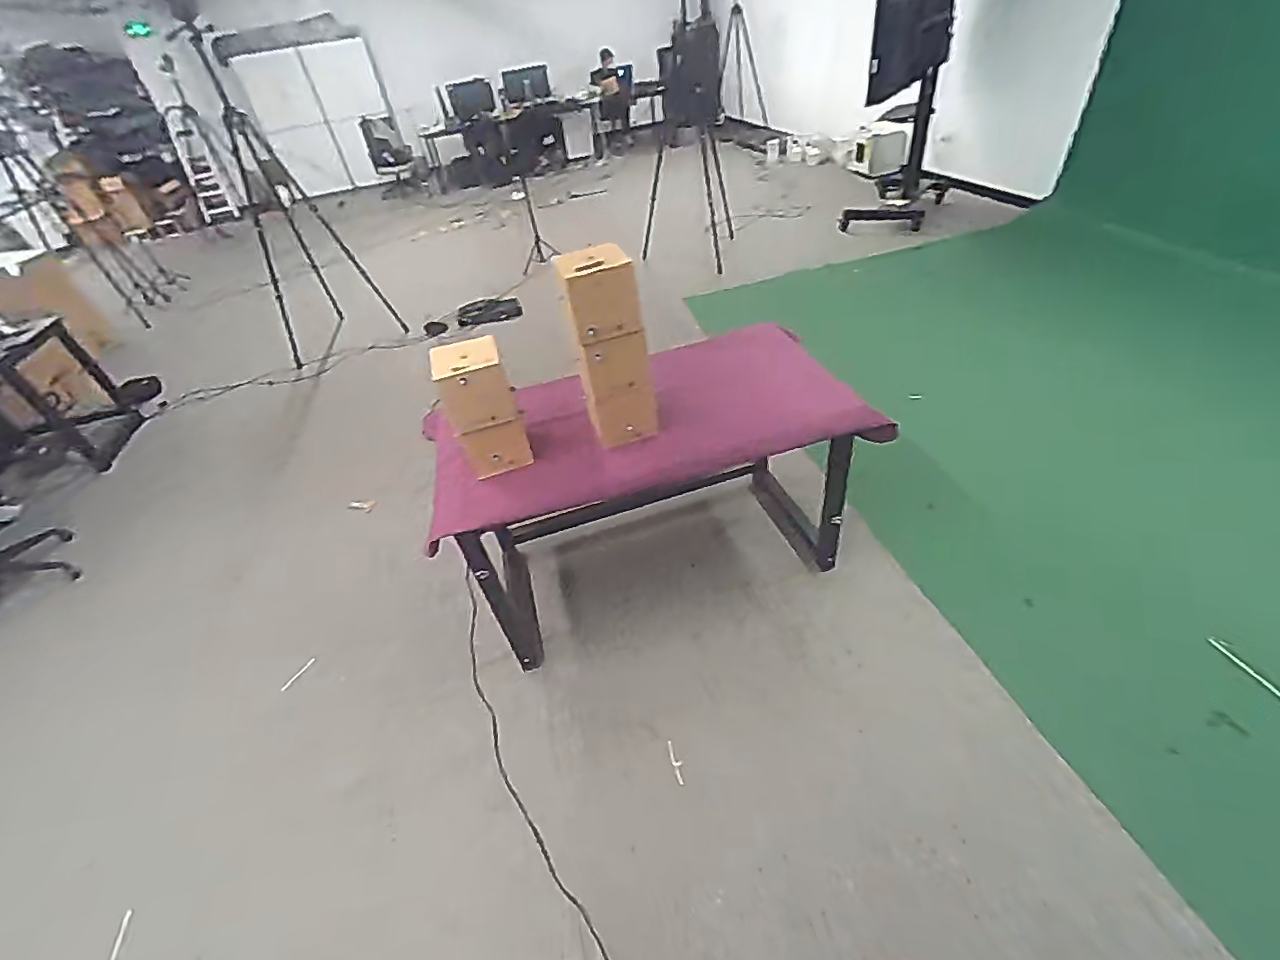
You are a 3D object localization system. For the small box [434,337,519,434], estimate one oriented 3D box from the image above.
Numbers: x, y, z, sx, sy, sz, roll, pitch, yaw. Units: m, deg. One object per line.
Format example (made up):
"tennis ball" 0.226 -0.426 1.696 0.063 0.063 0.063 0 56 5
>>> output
"small box" -0.426 -0.247 1.410 0.168 0.176 0.179 -17 41 -9

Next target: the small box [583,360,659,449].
"small box" -0.054 -0.216 1.550 0.168 0.176 0.179 -17 41 -8

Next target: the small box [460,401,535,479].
"small box" -0.408 -0.132 1.527 0.168 0.176 0.179 -18 42 -10

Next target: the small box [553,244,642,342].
"small box" -0.102 -0.455 1.329 0.168 0.176 0.179 -17 39 -9
